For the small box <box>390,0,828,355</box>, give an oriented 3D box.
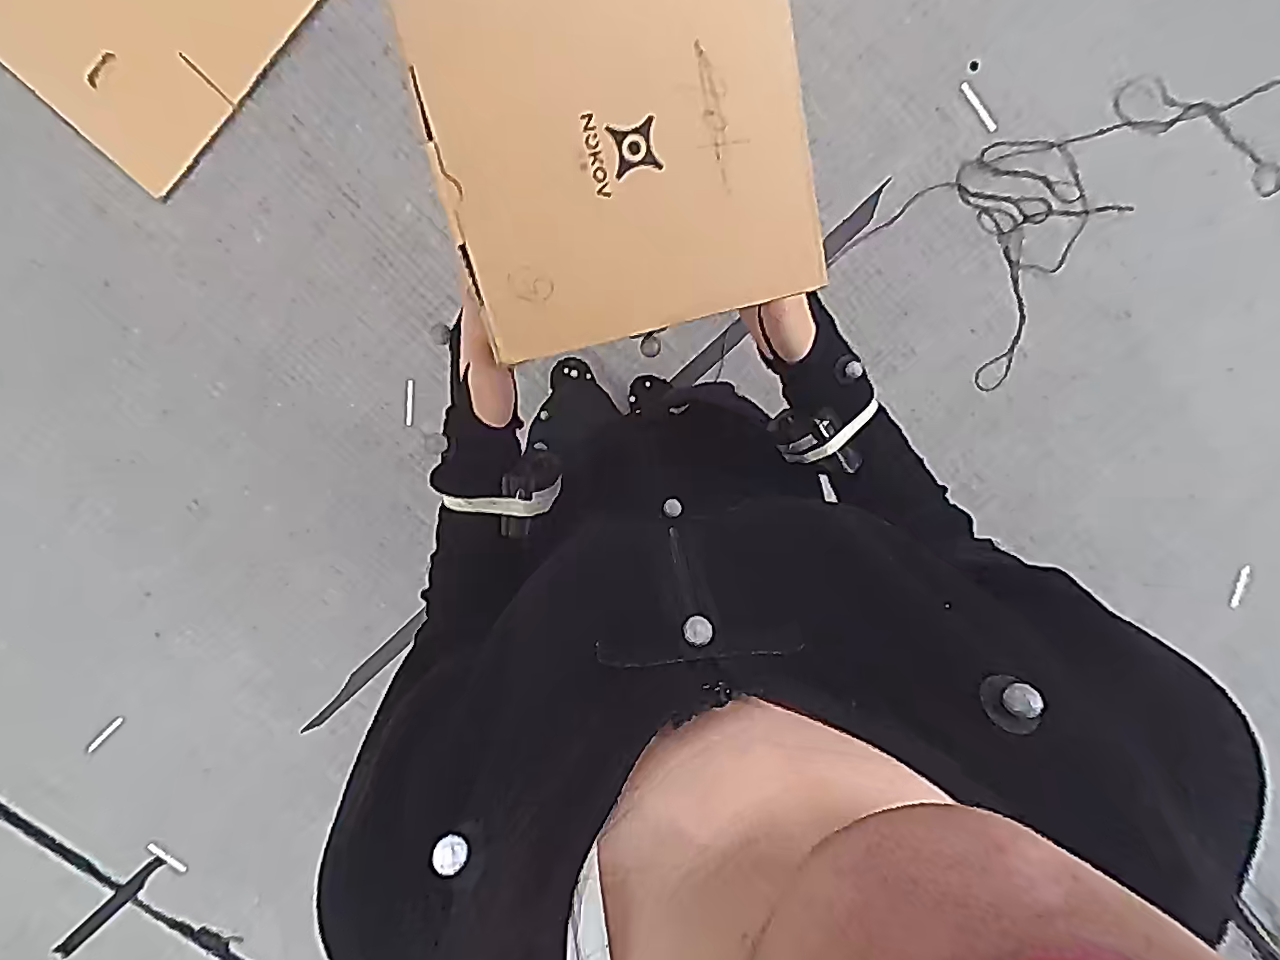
[{"bbox_3d":[-0.013,-0.176,0.328,0.179,0.176,0.168,-15,106,-2],"label":"small box"}]
